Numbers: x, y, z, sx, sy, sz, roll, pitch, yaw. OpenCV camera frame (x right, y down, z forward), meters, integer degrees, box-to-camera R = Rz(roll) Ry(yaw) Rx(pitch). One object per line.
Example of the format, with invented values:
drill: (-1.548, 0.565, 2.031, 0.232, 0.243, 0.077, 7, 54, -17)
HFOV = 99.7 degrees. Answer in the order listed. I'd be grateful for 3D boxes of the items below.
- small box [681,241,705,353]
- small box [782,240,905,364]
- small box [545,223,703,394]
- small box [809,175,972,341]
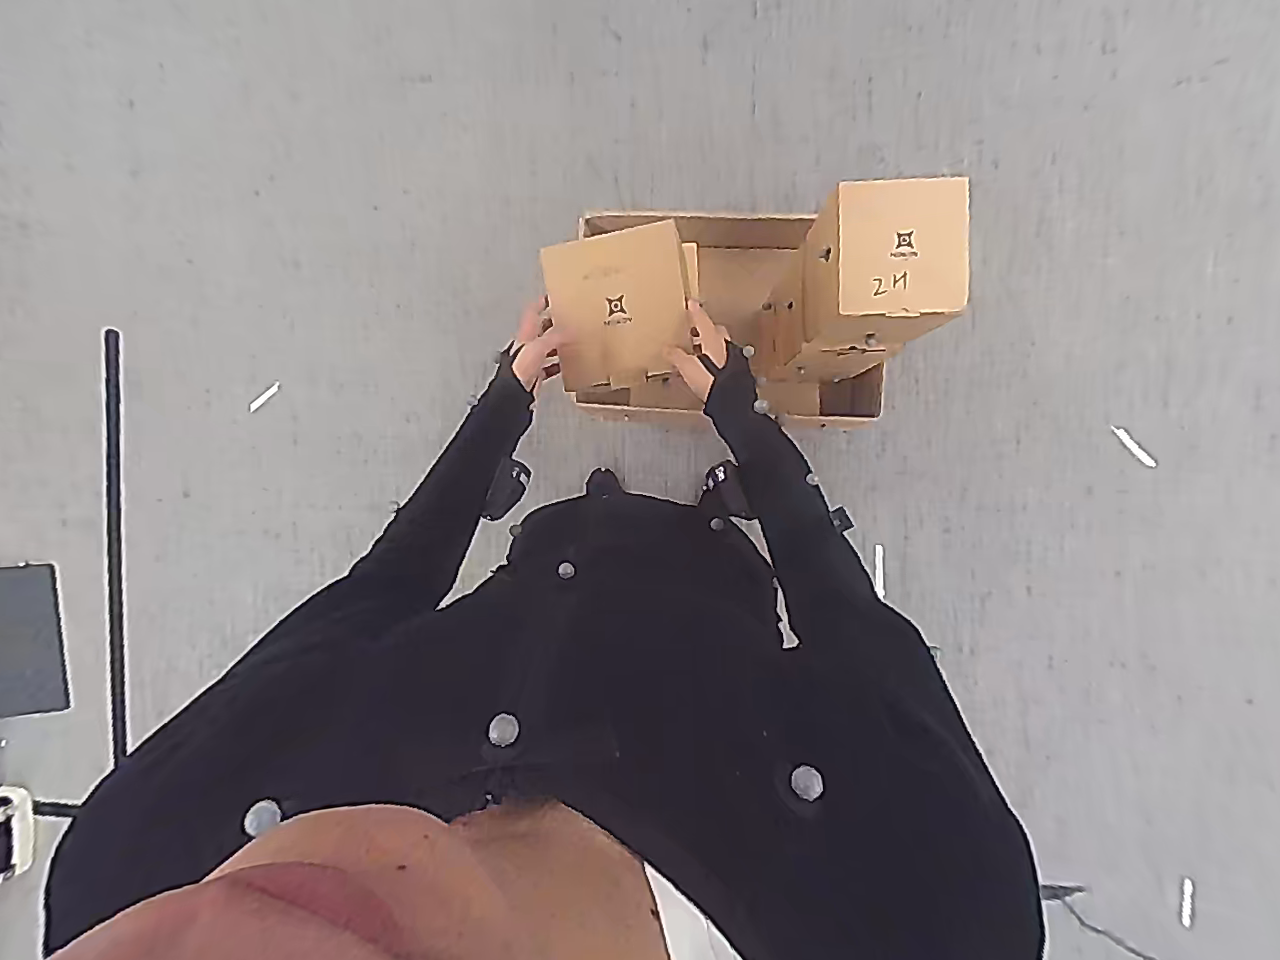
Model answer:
small box: (0.025, -0.302, 0.964, 0.168, 0.176, 0.179, -3, 94, 4)
small box: (0.347, -0.300, 0.940, 0.168, 0.176, 0.179, 0, 92, 3)
small box: (-0.010, -0.217, 0.723, 0.168, 0.176, 0.179, -8, 99, 10)
small box: (0.345, -0.306, 0.774, 0.168, 0.176, 0.179, 0, 93, 4)
